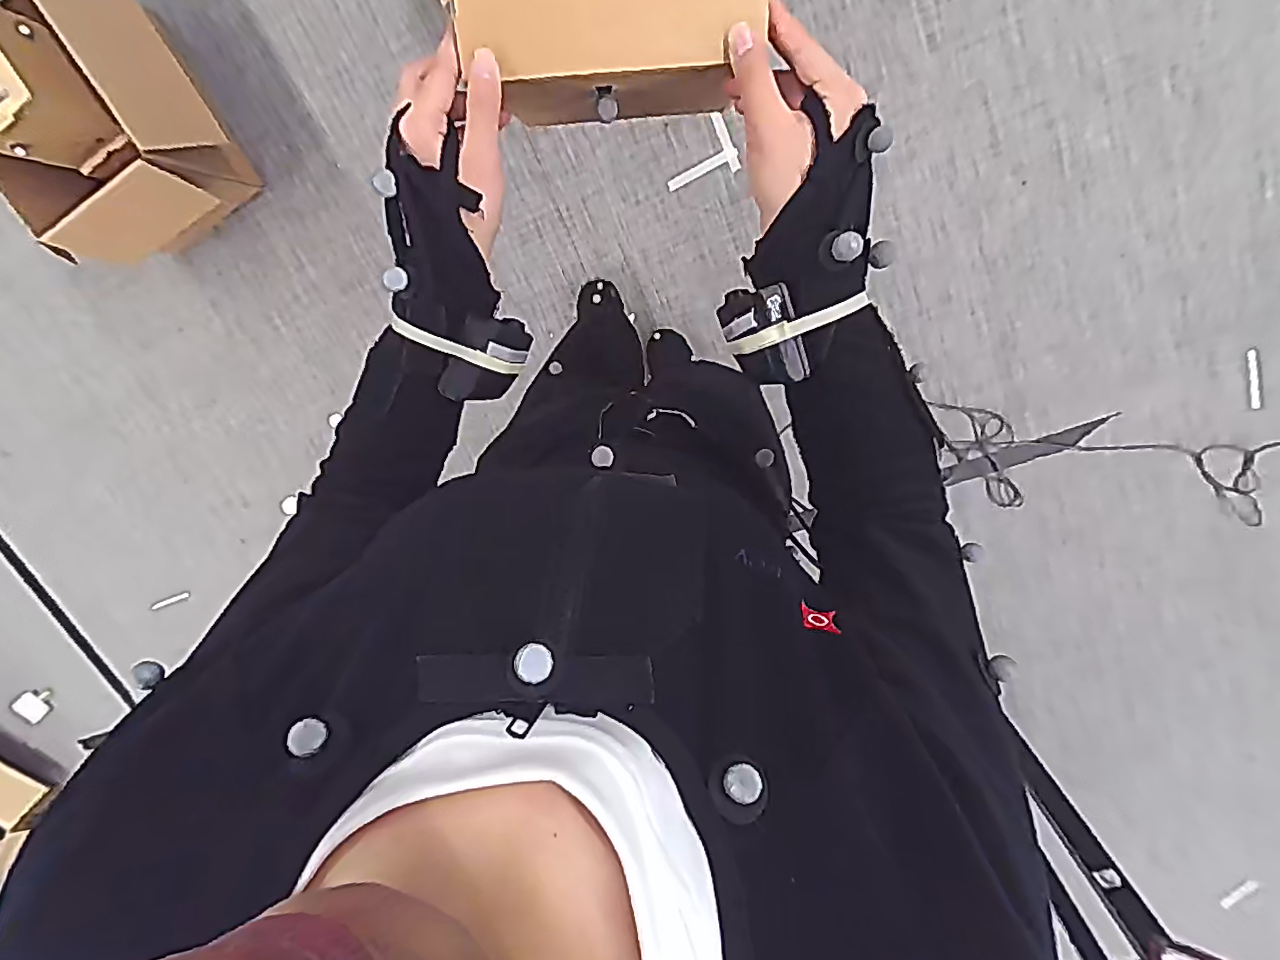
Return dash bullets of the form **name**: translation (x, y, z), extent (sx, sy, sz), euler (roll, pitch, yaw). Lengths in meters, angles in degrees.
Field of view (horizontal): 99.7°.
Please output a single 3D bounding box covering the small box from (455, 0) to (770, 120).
- **small box**: translation (-0.016, -0.344, 0.346), extent (0.179, 0.176, 0.168), euler (-2, 116, 3)
